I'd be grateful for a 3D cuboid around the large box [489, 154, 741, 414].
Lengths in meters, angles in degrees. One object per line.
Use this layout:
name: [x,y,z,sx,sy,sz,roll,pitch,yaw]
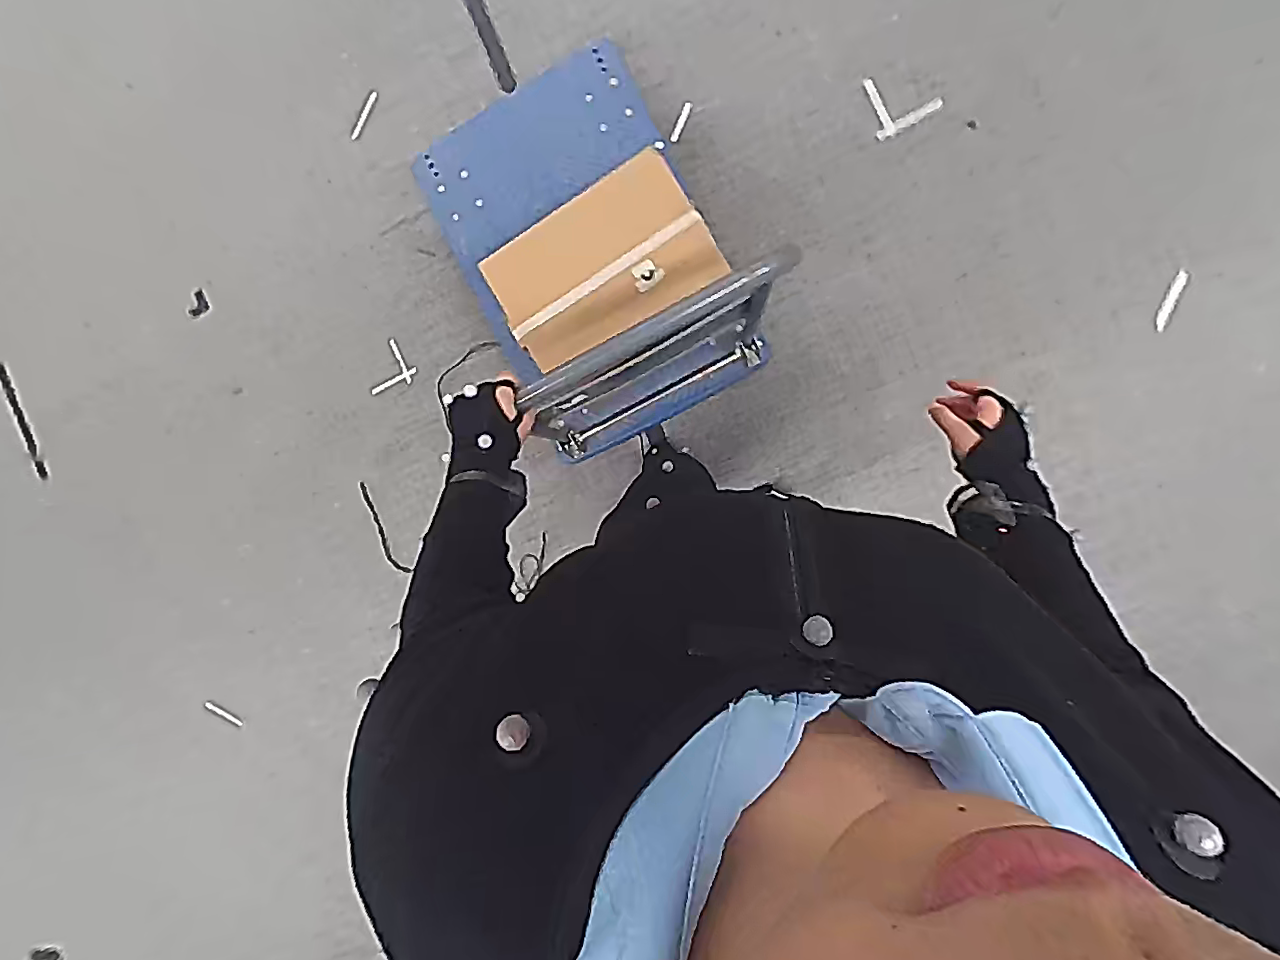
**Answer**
large box: [-0.040,-0.386,1.177,0.408,0.320,0.320,-31,90,6]
